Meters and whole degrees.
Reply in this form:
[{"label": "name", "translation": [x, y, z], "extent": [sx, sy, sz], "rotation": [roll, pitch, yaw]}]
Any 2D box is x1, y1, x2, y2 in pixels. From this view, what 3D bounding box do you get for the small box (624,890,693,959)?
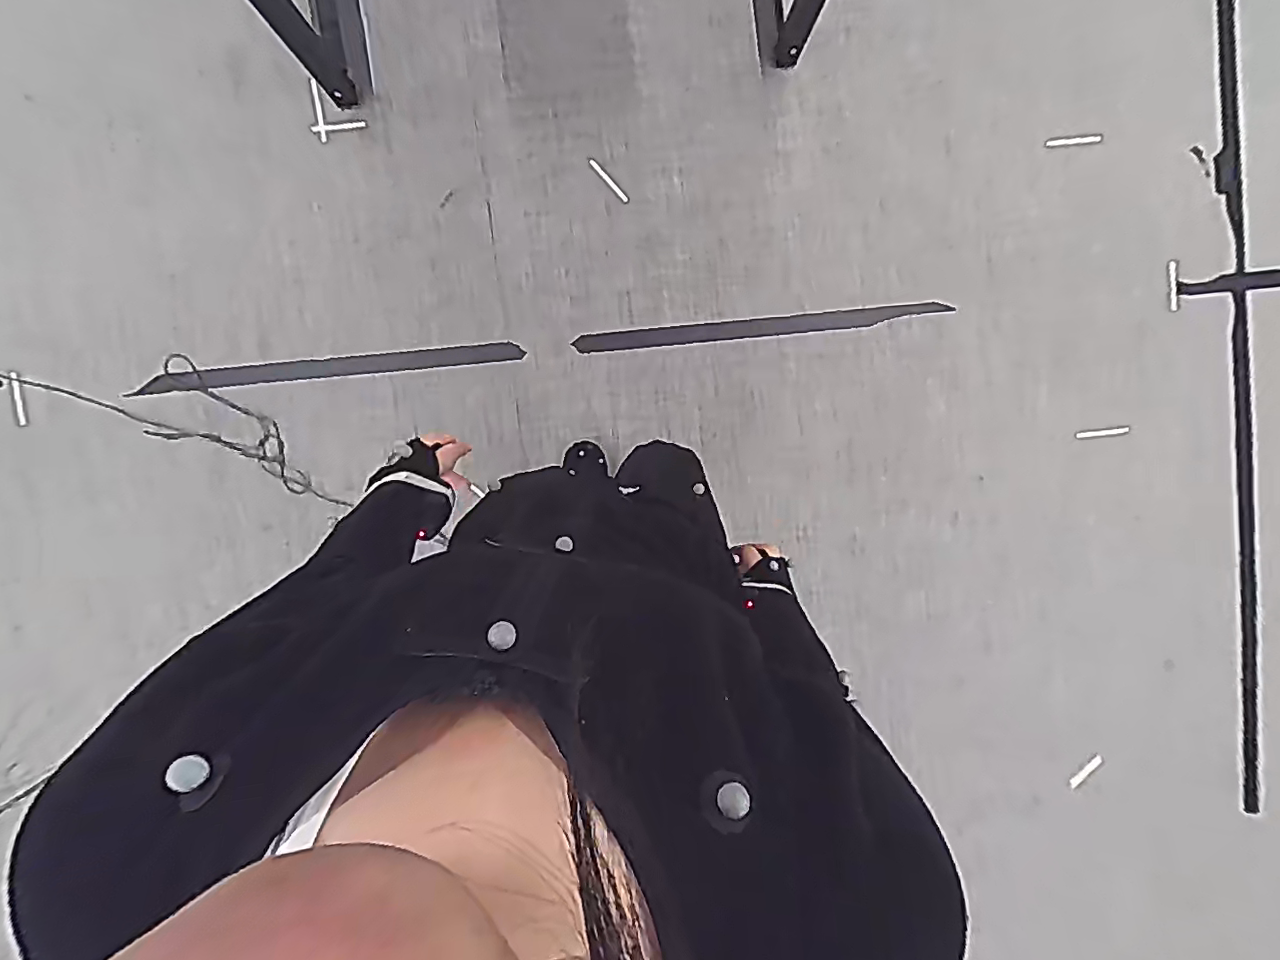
[{"label": "small box", "translation": [0.052, 1.286, 1.499], "extent": [0.168, 0.176, 0.179], "rotation": [-14, 95, -2]}]
